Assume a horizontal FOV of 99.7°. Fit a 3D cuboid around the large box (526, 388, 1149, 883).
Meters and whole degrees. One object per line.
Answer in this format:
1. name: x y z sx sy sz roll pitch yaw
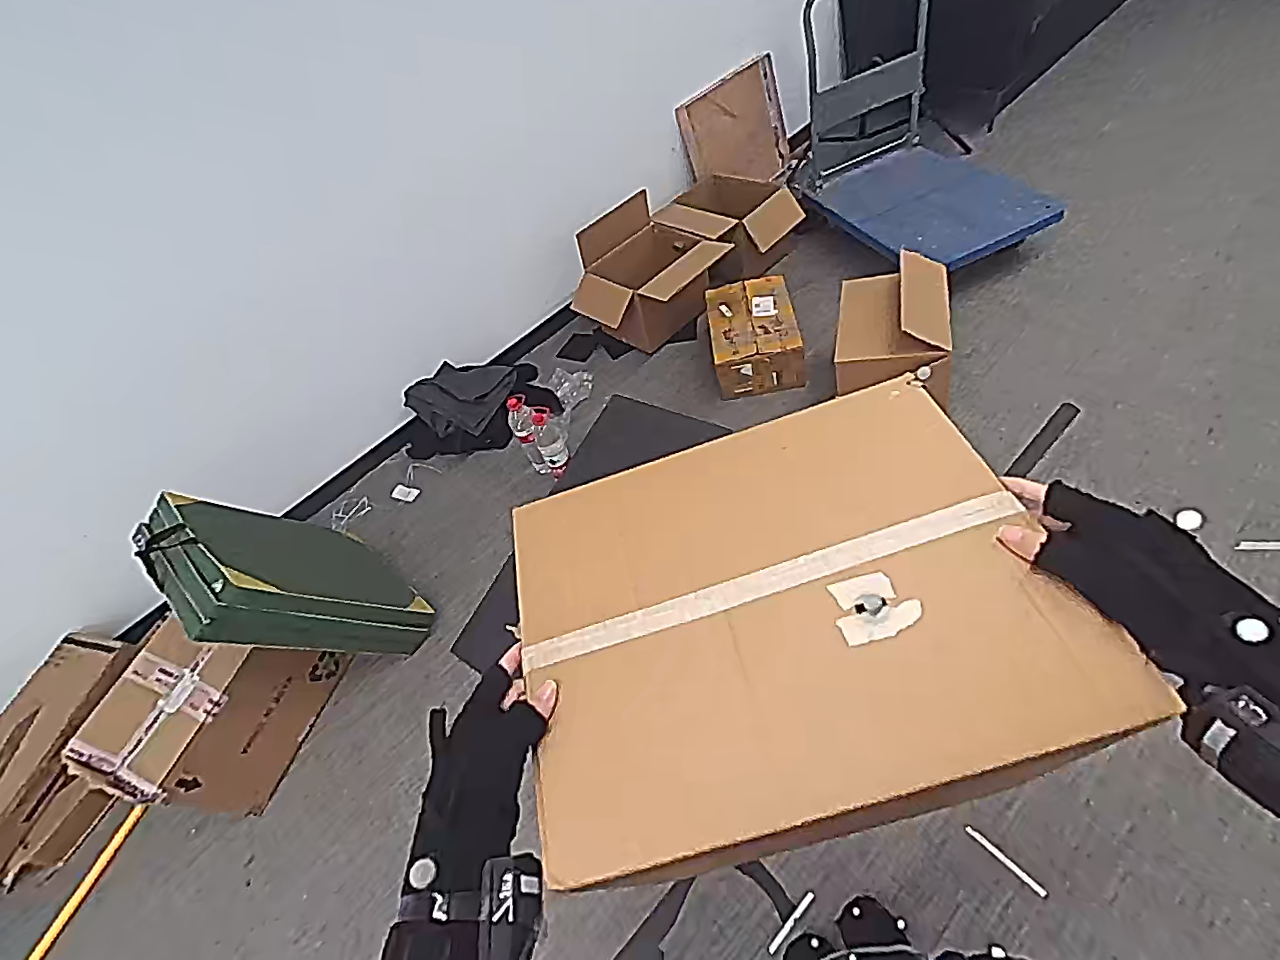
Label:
1. large box: 0.138 0.174 0.556 0.408 0.320 0.320 -19 52 4
